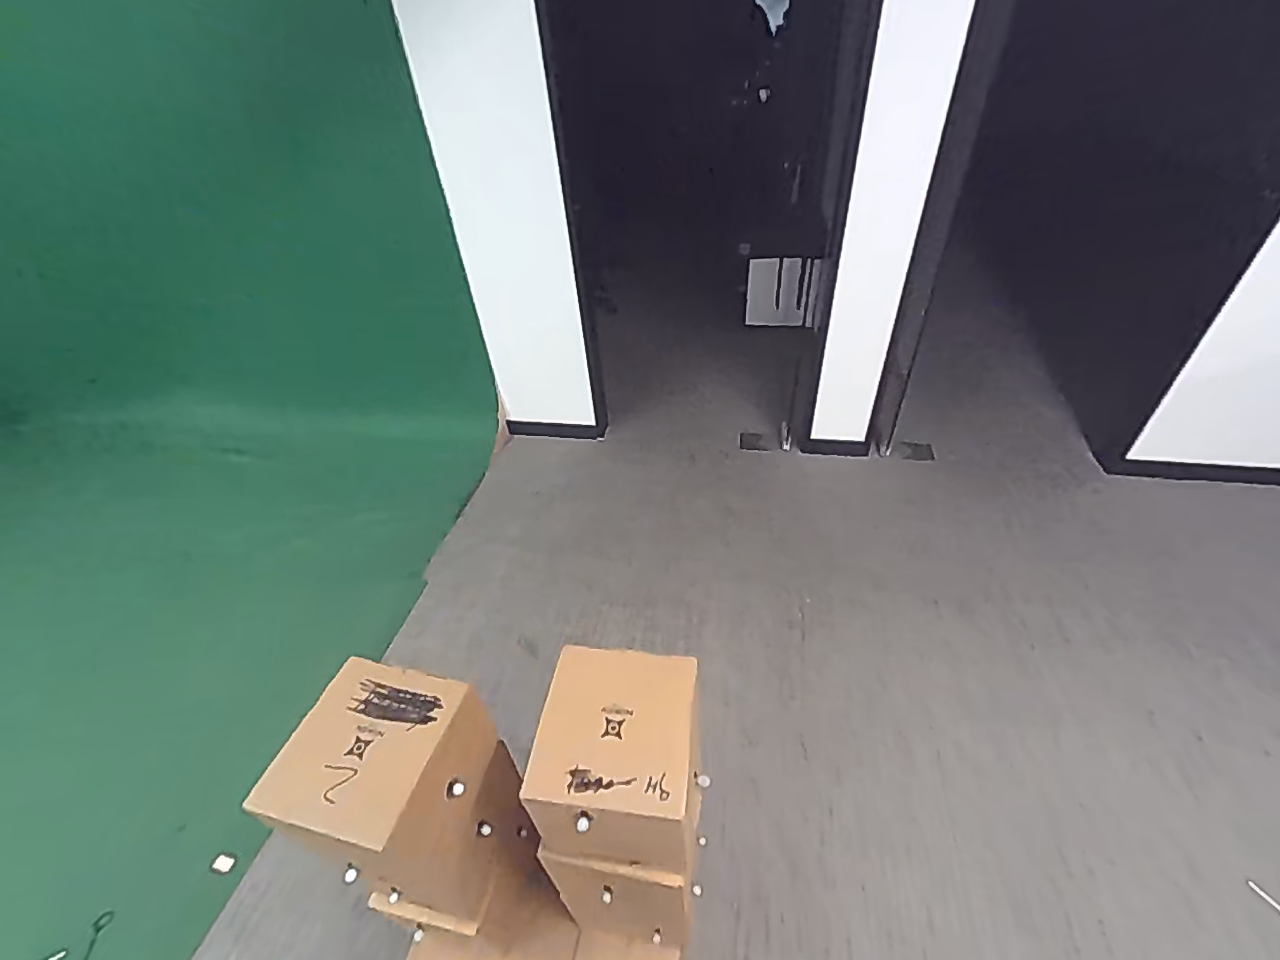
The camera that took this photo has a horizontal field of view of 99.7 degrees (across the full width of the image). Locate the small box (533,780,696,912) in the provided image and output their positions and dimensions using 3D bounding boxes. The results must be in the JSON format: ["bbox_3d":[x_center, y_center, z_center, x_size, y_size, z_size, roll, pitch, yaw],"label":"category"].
[{"bbox_3d":[-0.019,0.452,0.730,0.179,0.176,0.168,4,41,13],"label":"small box"}]

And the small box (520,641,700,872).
[{"bbox_3d":[-0.021,0.319,0.633,0.168,0.176,0.179,3,40,10],"label":"small box"}]

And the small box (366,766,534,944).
[{"bbox_3d":[-0.279,0.587,0.846,0.168,0.176,0.179,7,42,11],"label":"small box"}]

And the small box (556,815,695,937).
[{"bbox_3d":[-0.010,0.576,0.837,0.179,0.176,0.168,3,41,12],"label":"small box"}]
